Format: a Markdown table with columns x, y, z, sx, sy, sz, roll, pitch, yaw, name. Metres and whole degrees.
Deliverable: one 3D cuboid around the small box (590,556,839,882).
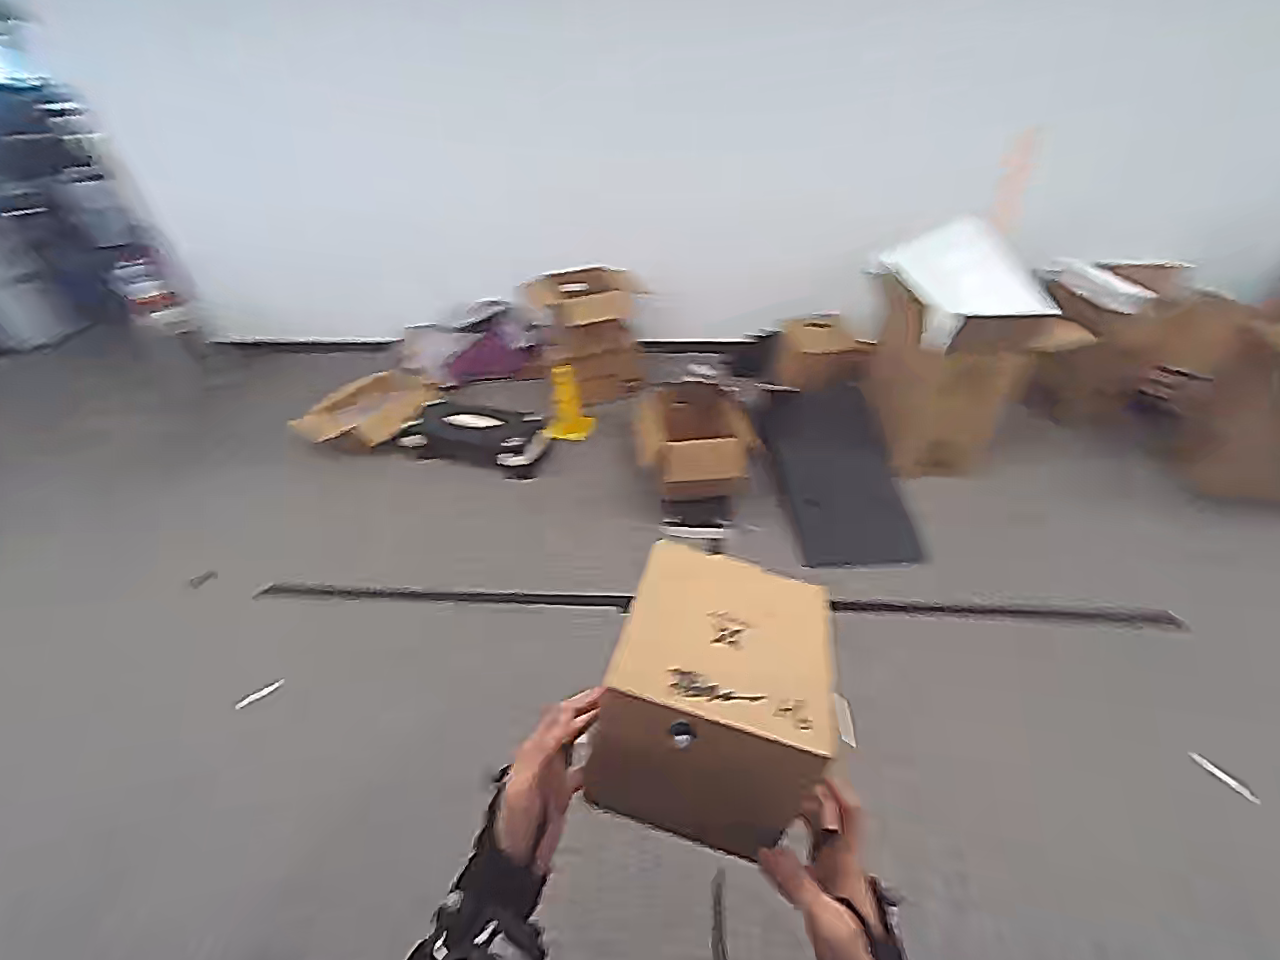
| x | y | z | sx | sy | sz | roll | pitch | yaw | name |
| --- | --- | --- | --- | --- | --- | --- | --- | --- | --- |
| 0.063 | 0.203 | 0.483 | 0.168 | 0.176 | 0.179 | 16 | 32 | 8 | small box |
